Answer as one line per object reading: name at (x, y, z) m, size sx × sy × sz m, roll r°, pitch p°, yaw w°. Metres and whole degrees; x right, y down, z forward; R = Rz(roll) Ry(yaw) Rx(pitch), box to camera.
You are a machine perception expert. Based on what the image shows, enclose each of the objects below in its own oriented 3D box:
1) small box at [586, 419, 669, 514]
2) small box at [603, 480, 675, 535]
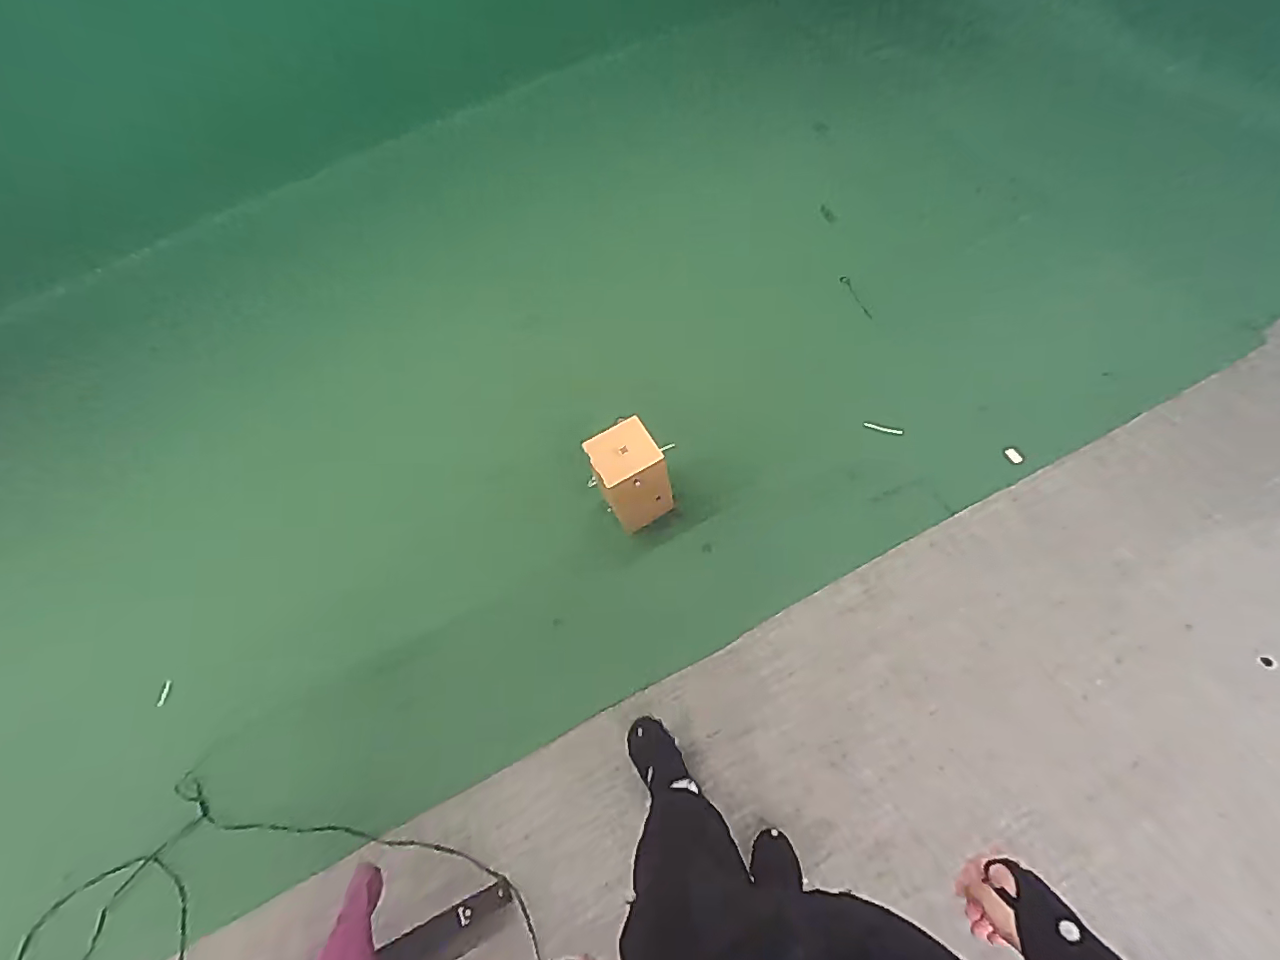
small box at (-0.027, -0.034, 1.528) m, size 0.179 × 0.176 × 0.168 m, roll -29°, pitch 62°, yaw -6°
small box at (-0.004, 0.041, 1.670) m, size 0.179 × 0.176 × 0.168 m, roll -31°, pitch 62°, yaw -7°
